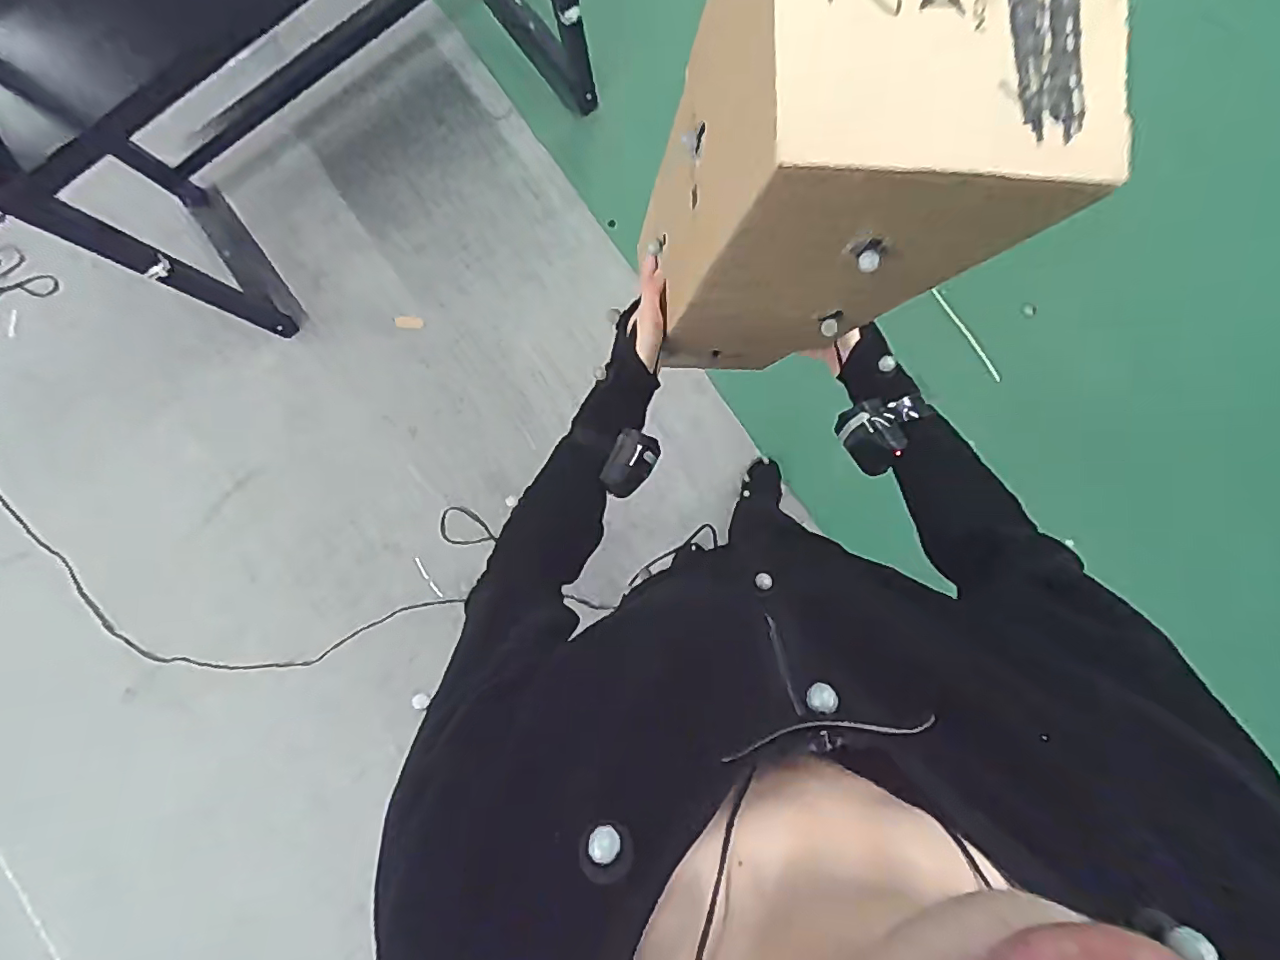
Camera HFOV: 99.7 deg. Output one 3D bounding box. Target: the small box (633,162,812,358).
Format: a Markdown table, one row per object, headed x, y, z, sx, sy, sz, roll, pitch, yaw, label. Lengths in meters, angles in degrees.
| x | y | z | sx | sy | sz | roll | pitch | yaw | label |
| --- | --- | --- | --- | --- | --- | --- | --- | --- | --- |
| 0.088 | -0.242 | 0.633 | 0.179 | 0.176 | 0.168 | -1 | 91 | -7 | small box |

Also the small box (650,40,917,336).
| x | y | z | sx | sy | sz | roll | pitch | yaw | label |
| --- | --- | --- | --- | --- | --- | --- | --- | --- | --- |
| 0.110 | -0.229 | 0.471 | 0.179 | 0.176 | 0.168 | -2 | 90 | -8 | small box |
